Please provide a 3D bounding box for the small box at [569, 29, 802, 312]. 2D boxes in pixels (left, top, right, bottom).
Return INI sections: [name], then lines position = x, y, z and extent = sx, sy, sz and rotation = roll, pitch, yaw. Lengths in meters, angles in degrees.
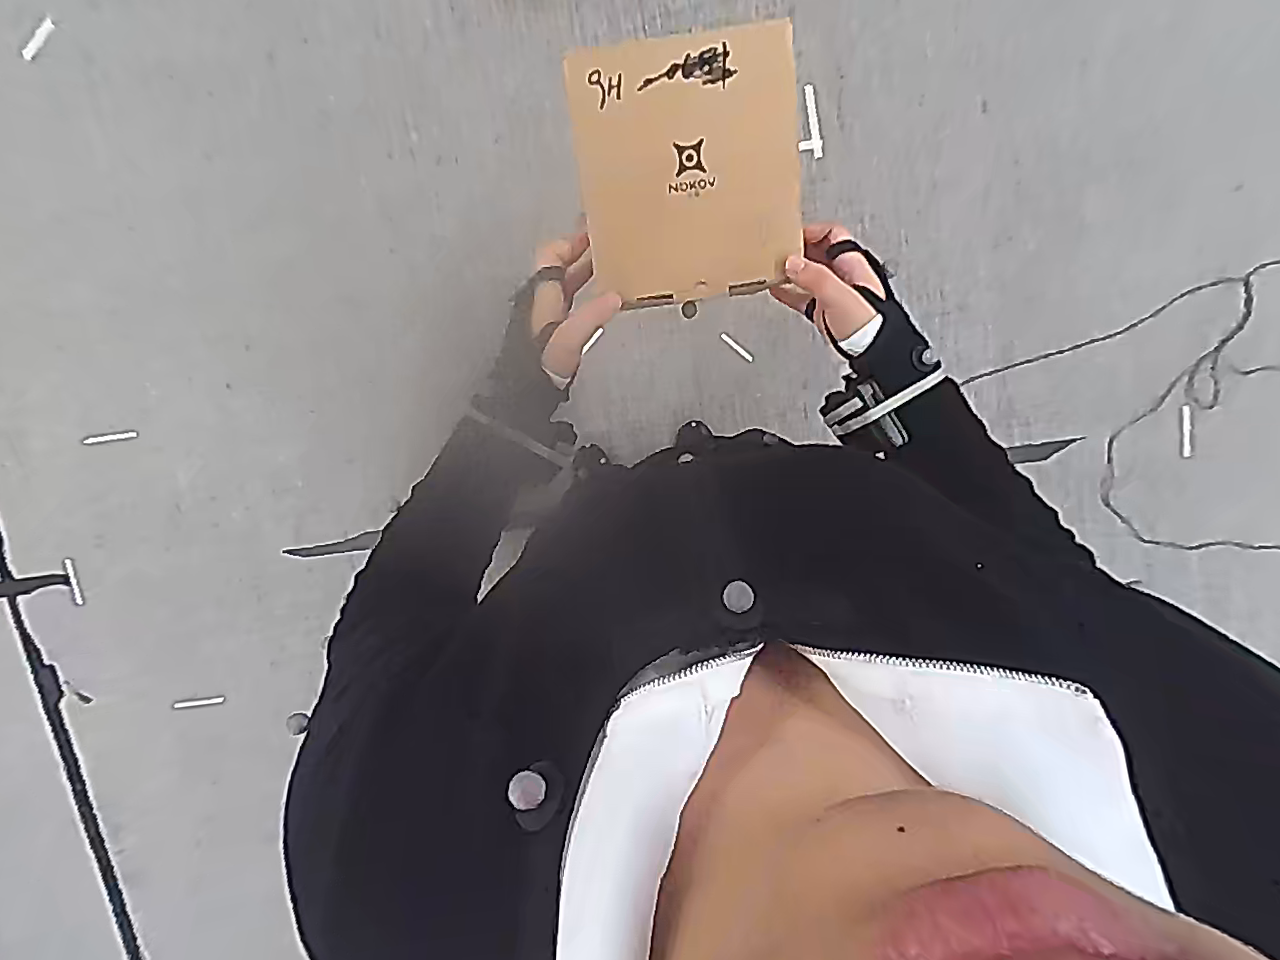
[small box]
position = 0.039, -0.251, 0.485
extent = 0.168, 0.176, 0.179
rotation = -8, 107, 1
